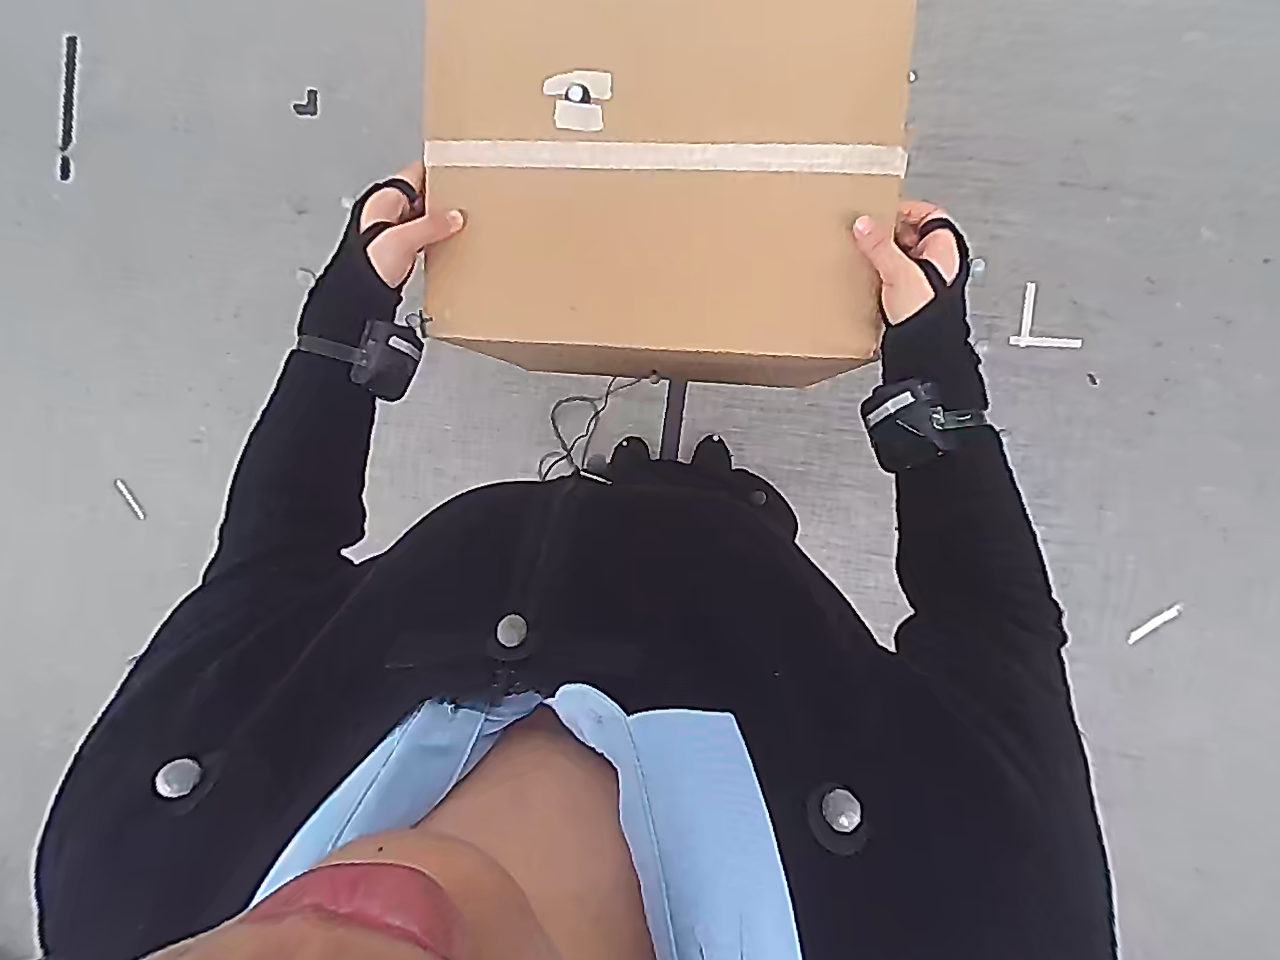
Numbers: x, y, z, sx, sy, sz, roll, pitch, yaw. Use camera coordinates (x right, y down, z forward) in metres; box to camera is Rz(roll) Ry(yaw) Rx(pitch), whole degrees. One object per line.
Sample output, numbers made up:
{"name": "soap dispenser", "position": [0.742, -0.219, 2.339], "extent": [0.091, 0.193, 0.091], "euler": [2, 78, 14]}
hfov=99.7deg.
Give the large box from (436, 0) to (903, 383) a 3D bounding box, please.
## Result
{"name": "large box", "position": [0.031, -0.282, 0.619], "extent": [0.408, 0.320, 0.320], "euler": [4, 94, 6]}
